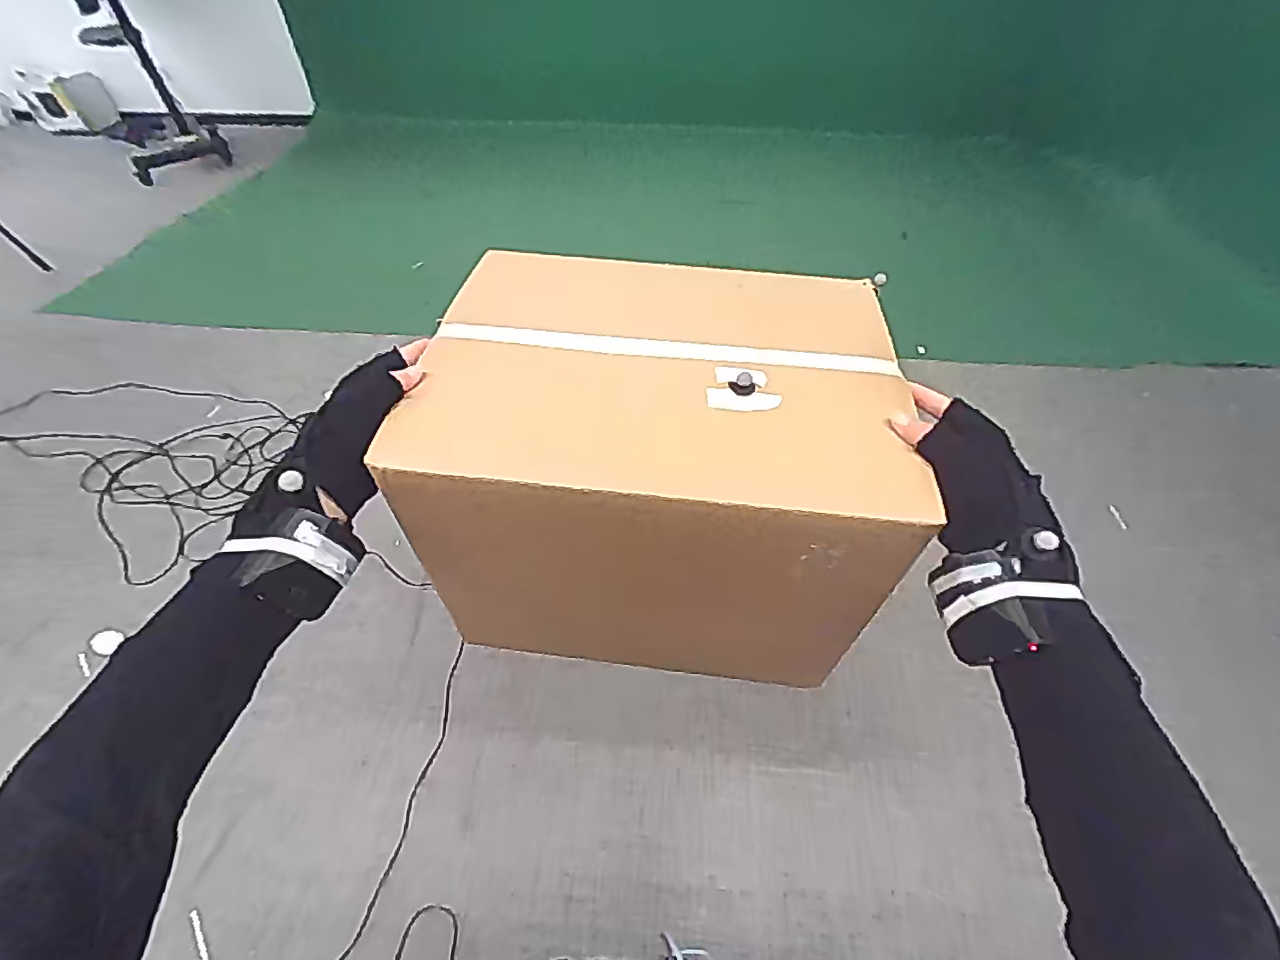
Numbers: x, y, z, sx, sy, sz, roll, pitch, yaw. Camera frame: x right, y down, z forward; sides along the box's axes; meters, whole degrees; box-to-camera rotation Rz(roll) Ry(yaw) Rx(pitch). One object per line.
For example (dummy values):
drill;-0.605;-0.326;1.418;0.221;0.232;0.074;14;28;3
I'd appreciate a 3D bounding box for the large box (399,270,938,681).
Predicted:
large box;0.024;-0.001;0.598;0.408;0.320;0.320;6;50;2
